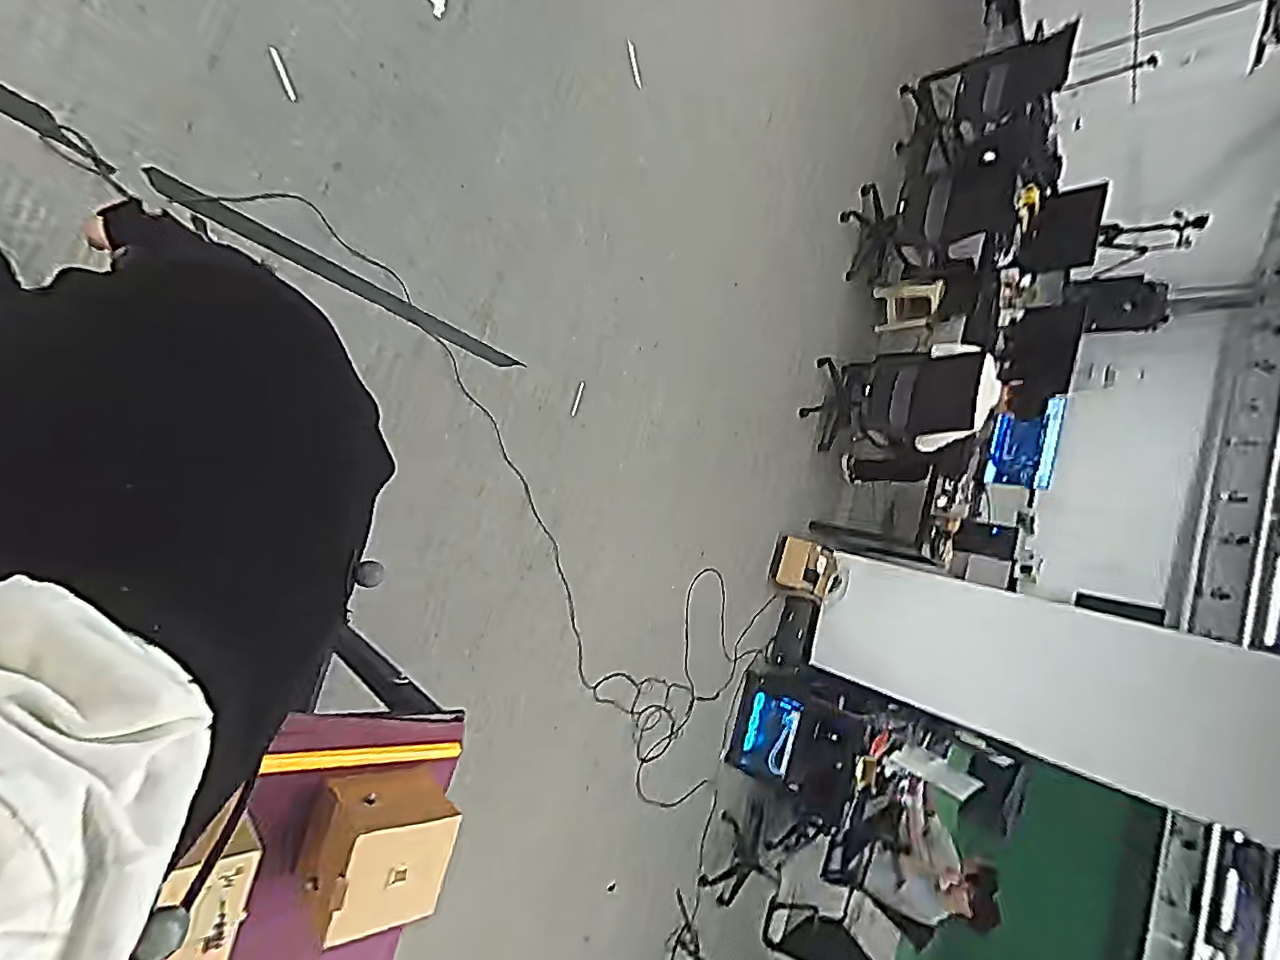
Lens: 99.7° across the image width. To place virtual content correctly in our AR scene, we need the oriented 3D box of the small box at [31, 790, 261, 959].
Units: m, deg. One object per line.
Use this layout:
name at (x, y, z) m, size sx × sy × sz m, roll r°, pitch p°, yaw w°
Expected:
small box at (-0.621, 0.524, 0.682) m, size 0.179 × 0.176 × 0.168 m, roll 21°, pitch 82°, yaw -45°

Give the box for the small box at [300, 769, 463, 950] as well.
small box at (-0.430, 0.606, 0.893) m, size 0.179 × 0.176 × 0.168 m, roll 21°, pitch 82°, yaw -44°
